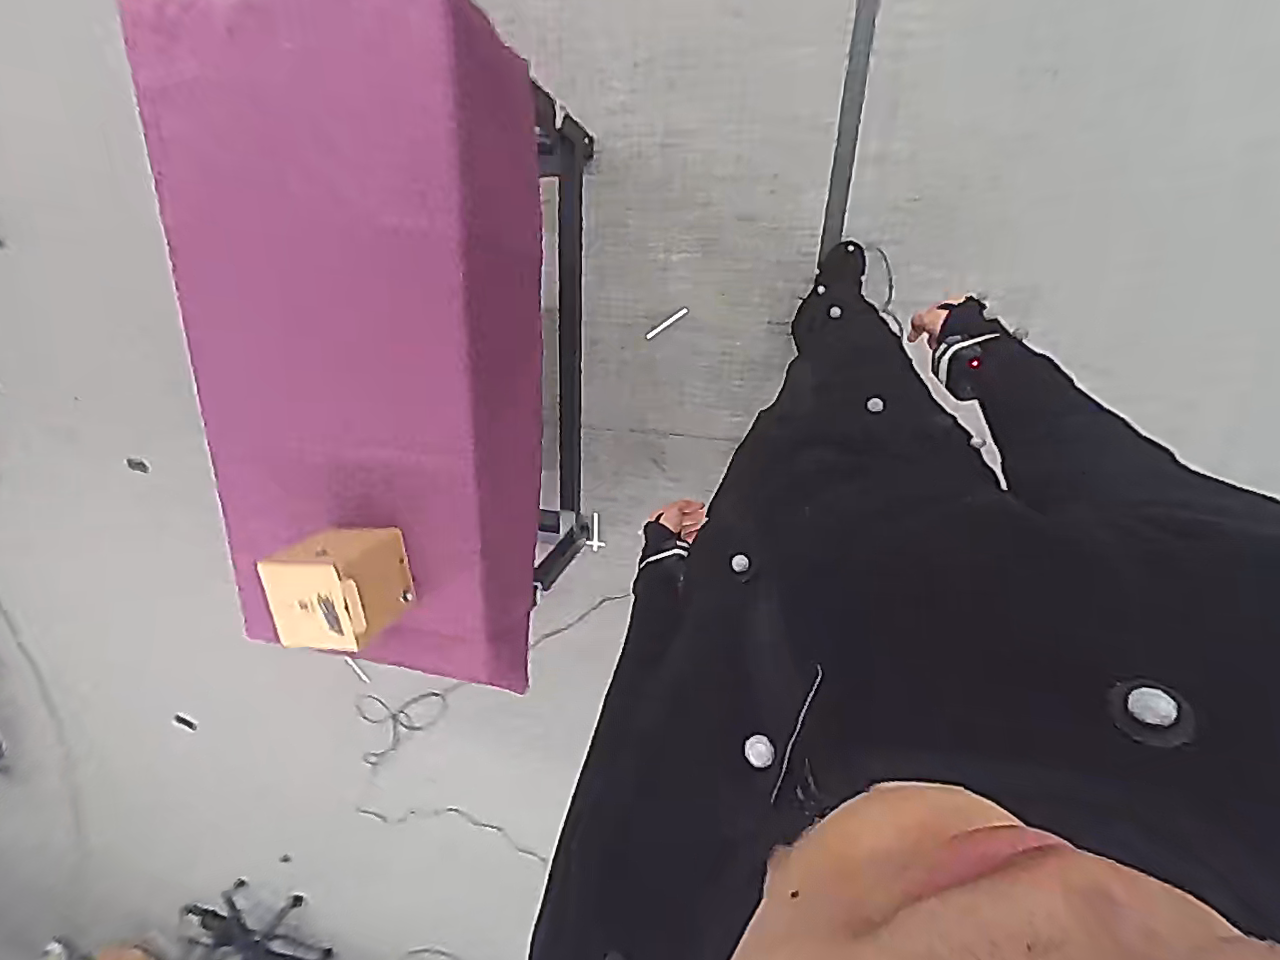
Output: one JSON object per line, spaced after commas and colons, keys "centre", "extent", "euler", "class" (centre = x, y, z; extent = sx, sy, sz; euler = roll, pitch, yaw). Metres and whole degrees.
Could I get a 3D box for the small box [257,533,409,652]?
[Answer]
{"centre": [-0.564, 0.205, 1.023], "extent": [0.179, 0.176, 0.168], "euler": [-2, 105, 15], "class": "small box"}
